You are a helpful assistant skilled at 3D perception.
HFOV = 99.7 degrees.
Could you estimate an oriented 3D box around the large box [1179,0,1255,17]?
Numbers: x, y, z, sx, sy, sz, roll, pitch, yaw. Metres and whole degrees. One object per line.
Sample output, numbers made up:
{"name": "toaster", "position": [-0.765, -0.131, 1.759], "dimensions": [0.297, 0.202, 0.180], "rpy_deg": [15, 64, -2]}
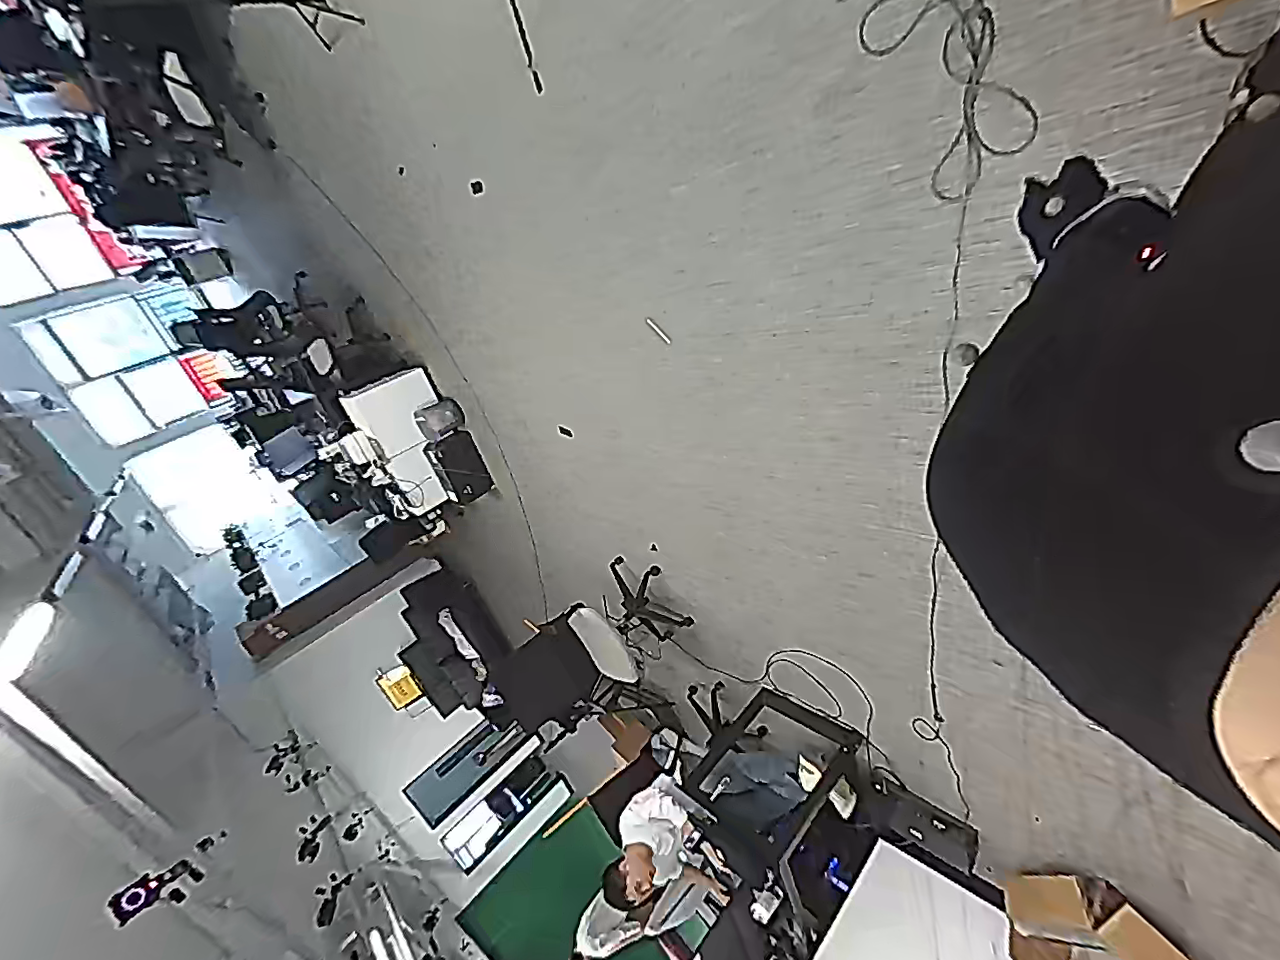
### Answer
{"name": "large box", "position": [0.904, -0.810, 0.603], "dimensions": [0.408, 0.320, 0.320], "rpy_deg": [7, 123, 49]}
